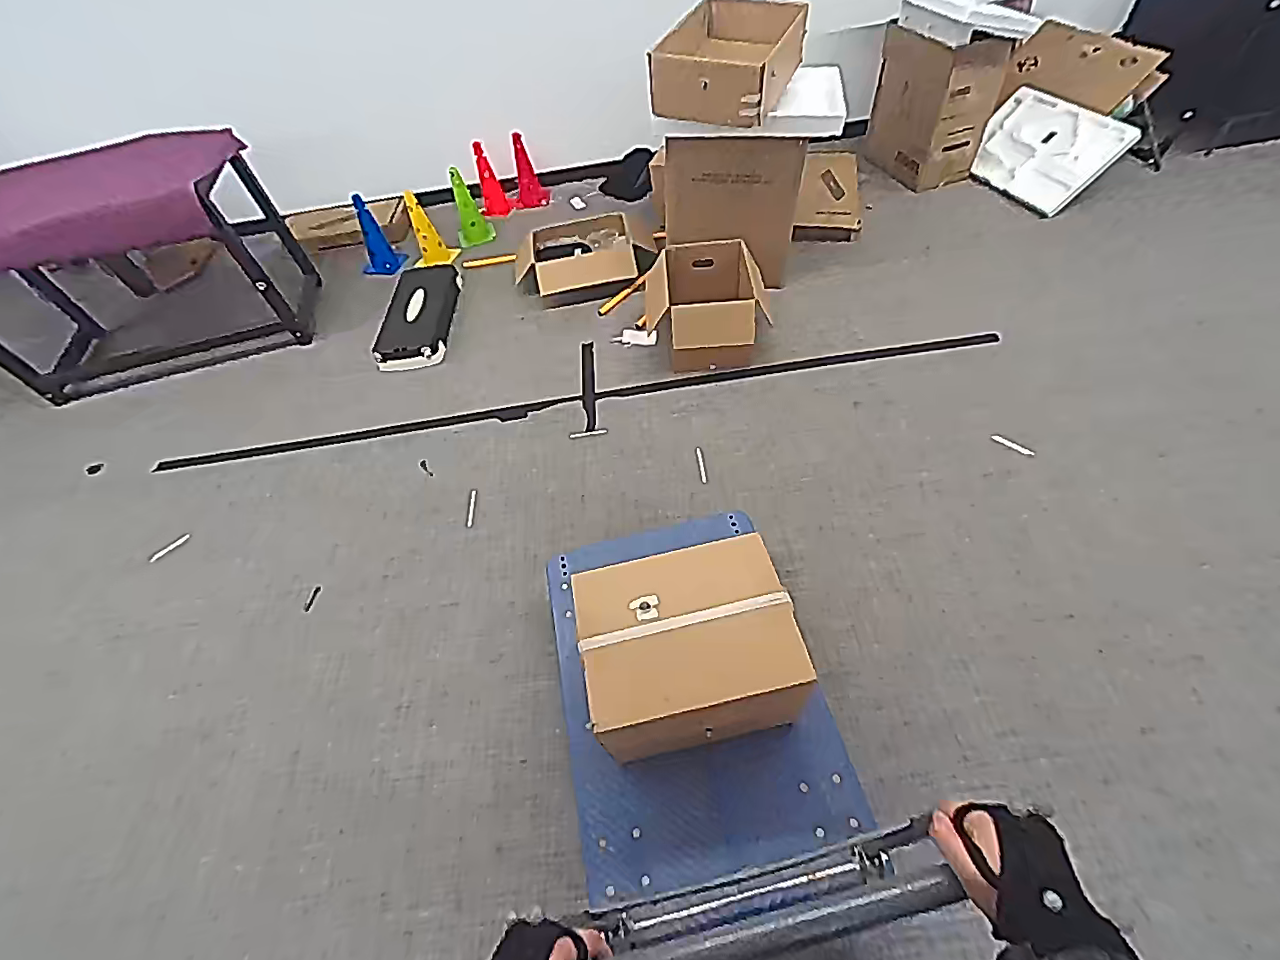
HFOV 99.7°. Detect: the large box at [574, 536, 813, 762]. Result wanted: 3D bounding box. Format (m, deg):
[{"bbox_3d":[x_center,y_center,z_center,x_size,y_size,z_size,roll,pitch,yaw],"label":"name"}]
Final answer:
[{"bbox_3d":[0.104,0.369,1.160,0.408,0.320,0.320,-14,52,-2],"label":"large box"}]
